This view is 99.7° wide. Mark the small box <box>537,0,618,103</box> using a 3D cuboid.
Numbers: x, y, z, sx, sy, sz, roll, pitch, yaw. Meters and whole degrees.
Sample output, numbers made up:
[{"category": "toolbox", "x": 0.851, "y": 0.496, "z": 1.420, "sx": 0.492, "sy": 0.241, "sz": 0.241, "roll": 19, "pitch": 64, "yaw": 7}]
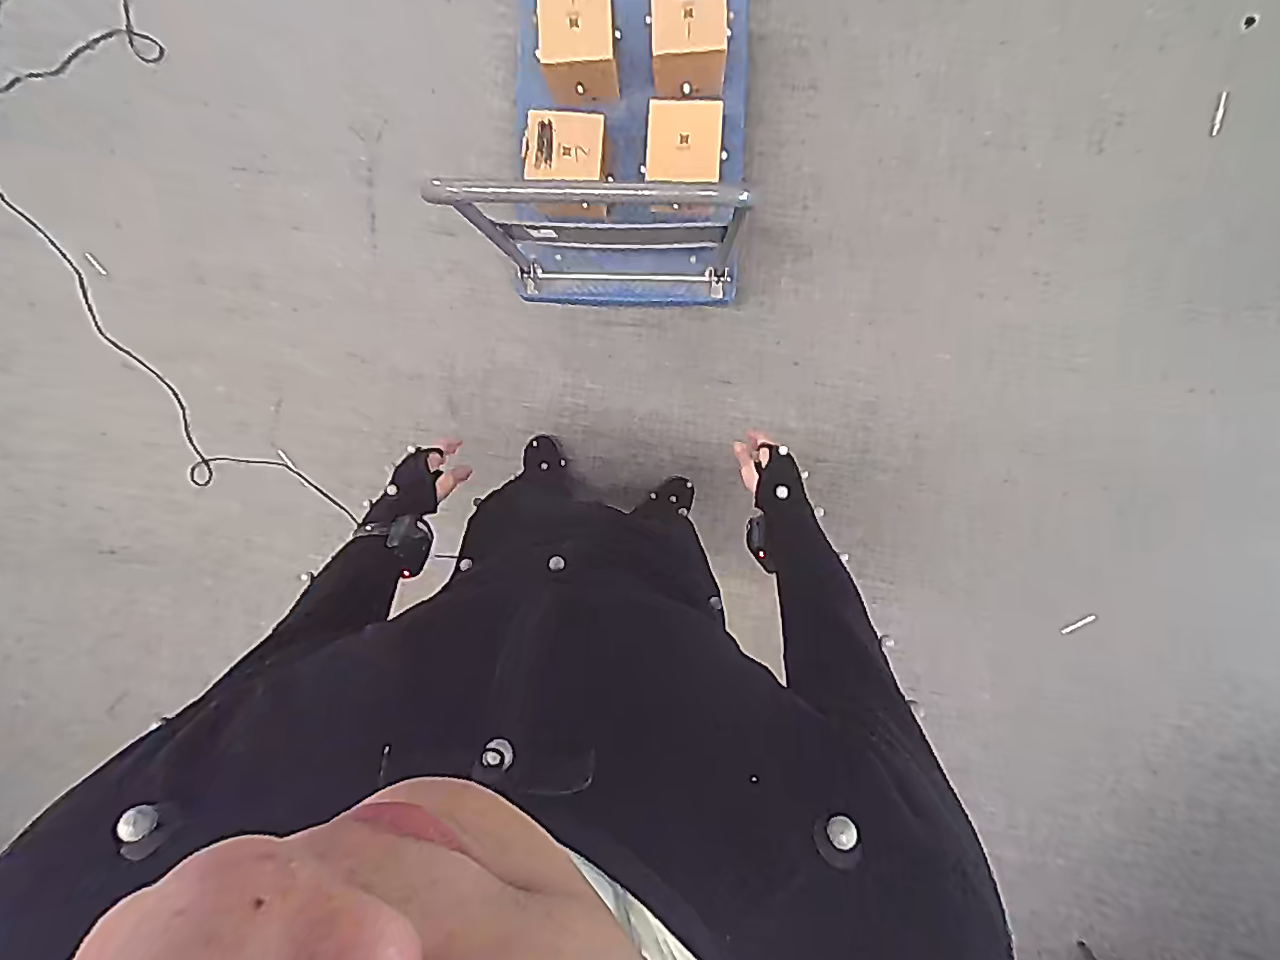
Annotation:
[{"category": "small box", "x": -0.141, "y": -1.019, "z": 1.269, "sx": 0.168, "sy": 0.176, "sz": 0.179, "roll": -1, "pitch": 96, "yaw": 3}]

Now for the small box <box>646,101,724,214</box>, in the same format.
[{"category": "small box", "x": 0.102, "y": -0.756, "z": 1.281, "sx": 0.168, "sy": 0.176, "sz": 0.179, "roll": 3, "pitch": 97, "yaw": 3}]

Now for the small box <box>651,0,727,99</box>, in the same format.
[{"category": "small box", "x": 0.111, "y": -1.025, "z": 1.251, "sx": 0.168, "sy": 0.176, "sz": 0.179, "roll": -1, "pitch": 97, "yaw": 5}]
